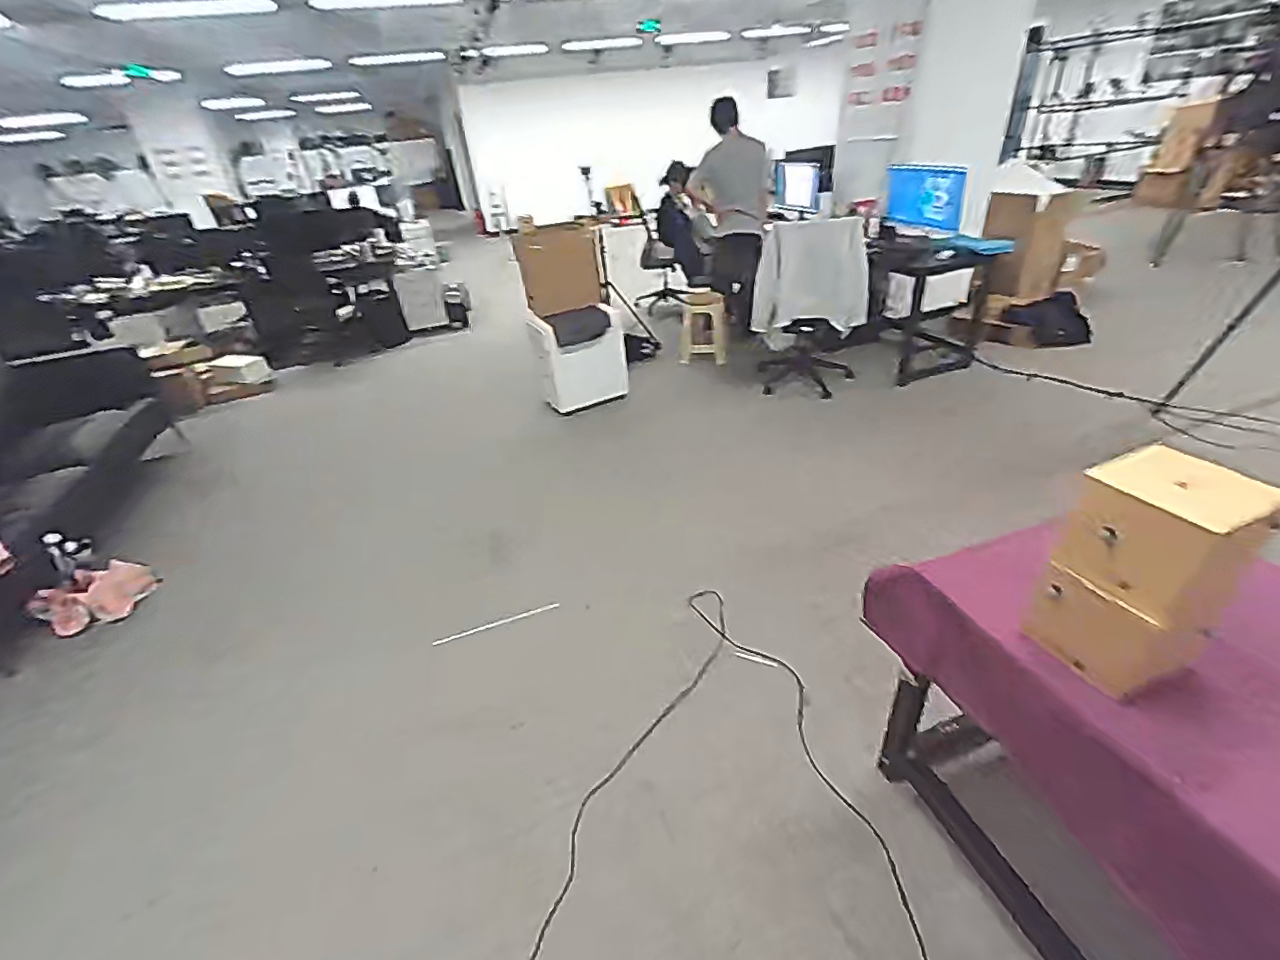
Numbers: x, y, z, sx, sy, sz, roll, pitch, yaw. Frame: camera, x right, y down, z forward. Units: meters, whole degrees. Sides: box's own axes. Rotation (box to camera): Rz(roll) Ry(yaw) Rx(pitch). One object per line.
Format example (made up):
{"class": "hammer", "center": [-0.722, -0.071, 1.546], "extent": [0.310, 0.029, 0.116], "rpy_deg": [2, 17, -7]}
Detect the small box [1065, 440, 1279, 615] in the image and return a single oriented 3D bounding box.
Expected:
{"class": "small box", "center": [0.770, 0.067, 0.788], "extent": [0.179, 0.176, 0.168], "rpy_deg": [-16, 34, -16]}
